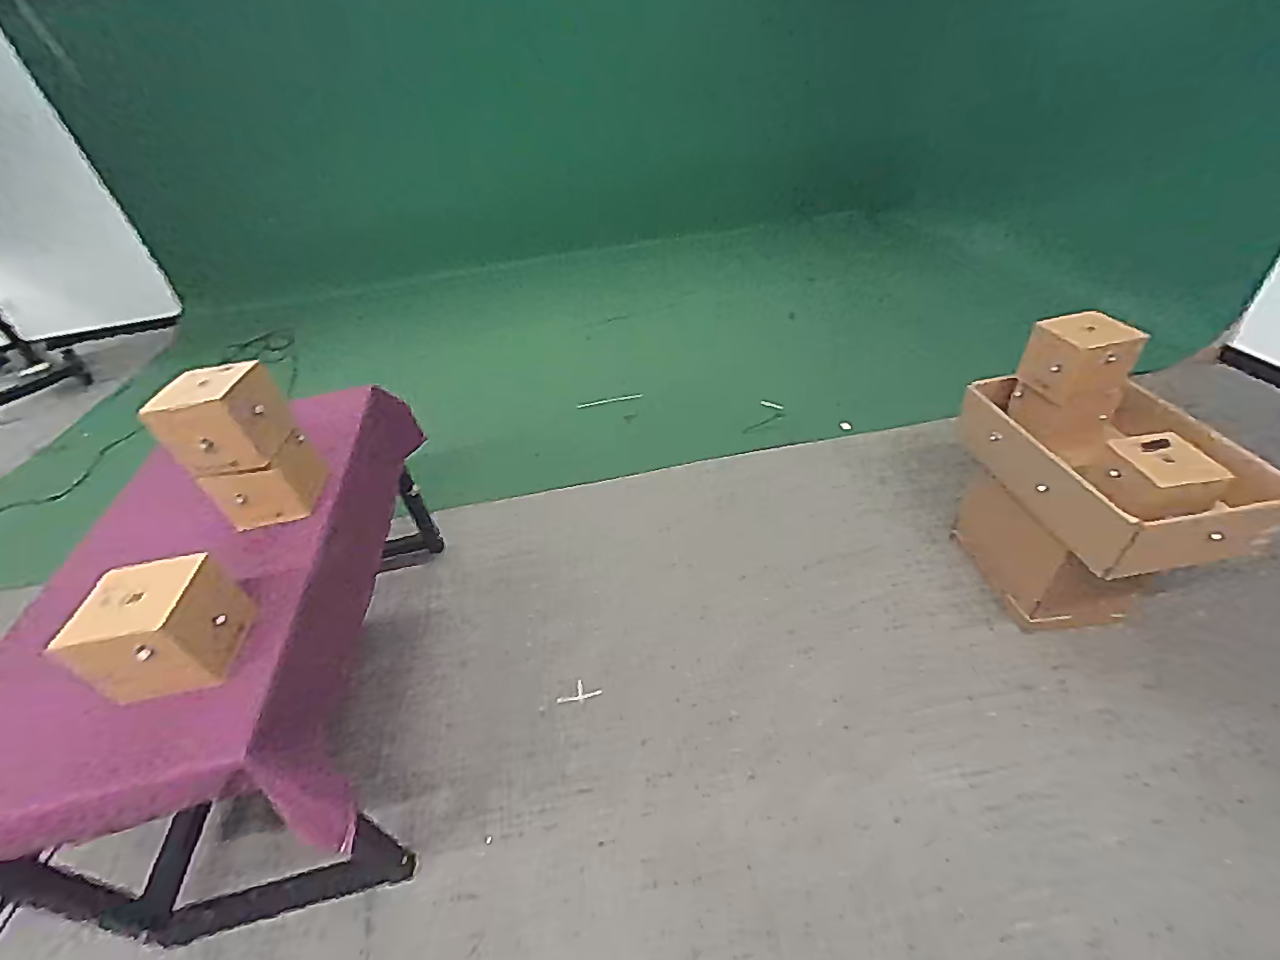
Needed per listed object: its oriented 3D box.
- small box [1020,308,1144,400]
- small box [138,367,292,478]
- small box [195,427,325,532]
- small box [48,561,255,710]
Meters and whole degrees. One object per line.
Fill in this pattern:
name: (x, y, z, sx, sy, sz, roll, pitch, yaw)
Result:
small box: (1.148, -0.329, 1.426, 0.179, 0.176, 0.168, -12, 41, -5)
small box: (-0.892, -0.117, 1.162, 0.168, 0.176, 0.179, -9, 40, 0)
small box: (-0.877, 0.004, 1.272, 0.168, 0.176, 0.179, -13, 39, -4)
small box: (-0.825, 0.271, 0.942, 0.179, 0.176, 0.168, -12, 39, -3)
